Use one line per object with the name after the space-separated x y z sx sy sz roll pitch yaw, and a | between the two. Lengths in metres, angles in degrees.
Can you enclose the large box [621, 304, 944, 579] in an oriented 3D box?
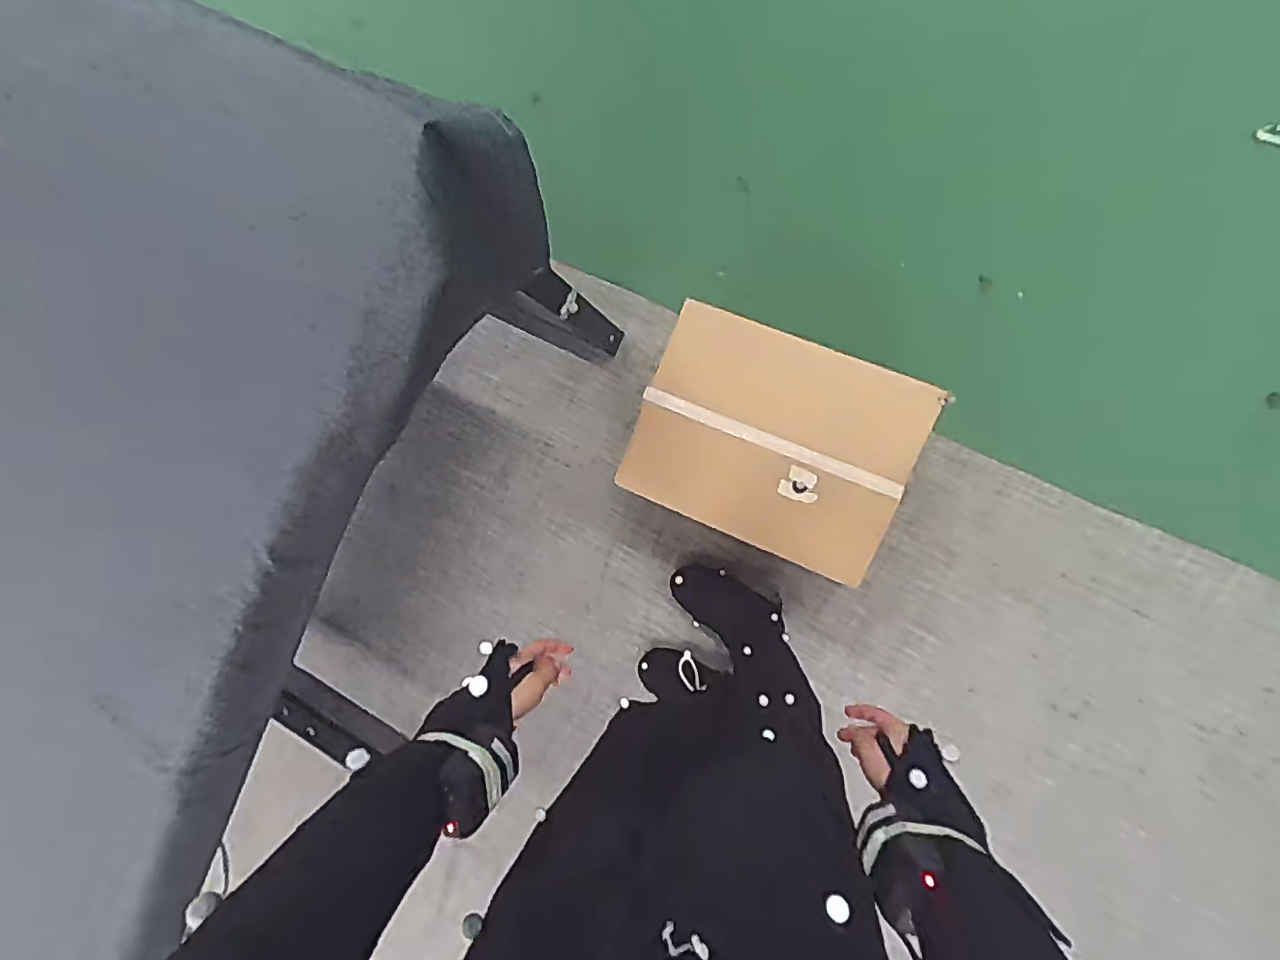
0.228 -0.067 0.964 0.408 0.320 0.320 23 96 10 | large box
